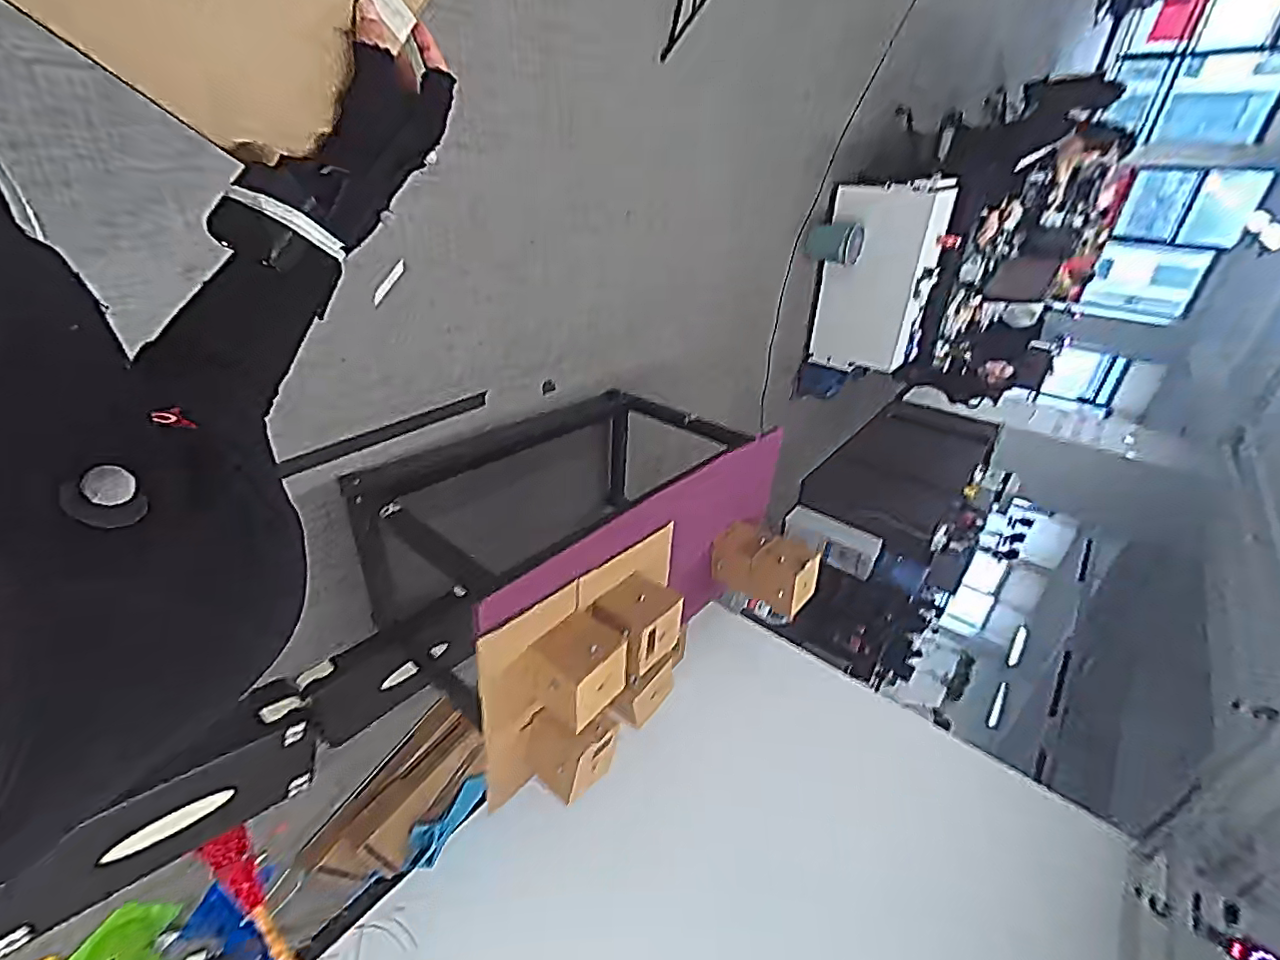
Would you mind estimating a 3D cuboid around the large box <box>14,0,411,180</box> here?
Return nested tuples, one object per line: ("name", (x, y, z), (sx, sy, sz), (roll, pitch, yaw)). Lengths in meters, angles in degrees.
("large box", (-0.384, -0.491, 0.334), (0.320, 0.320, 0.408), (-52, 150, 6))
